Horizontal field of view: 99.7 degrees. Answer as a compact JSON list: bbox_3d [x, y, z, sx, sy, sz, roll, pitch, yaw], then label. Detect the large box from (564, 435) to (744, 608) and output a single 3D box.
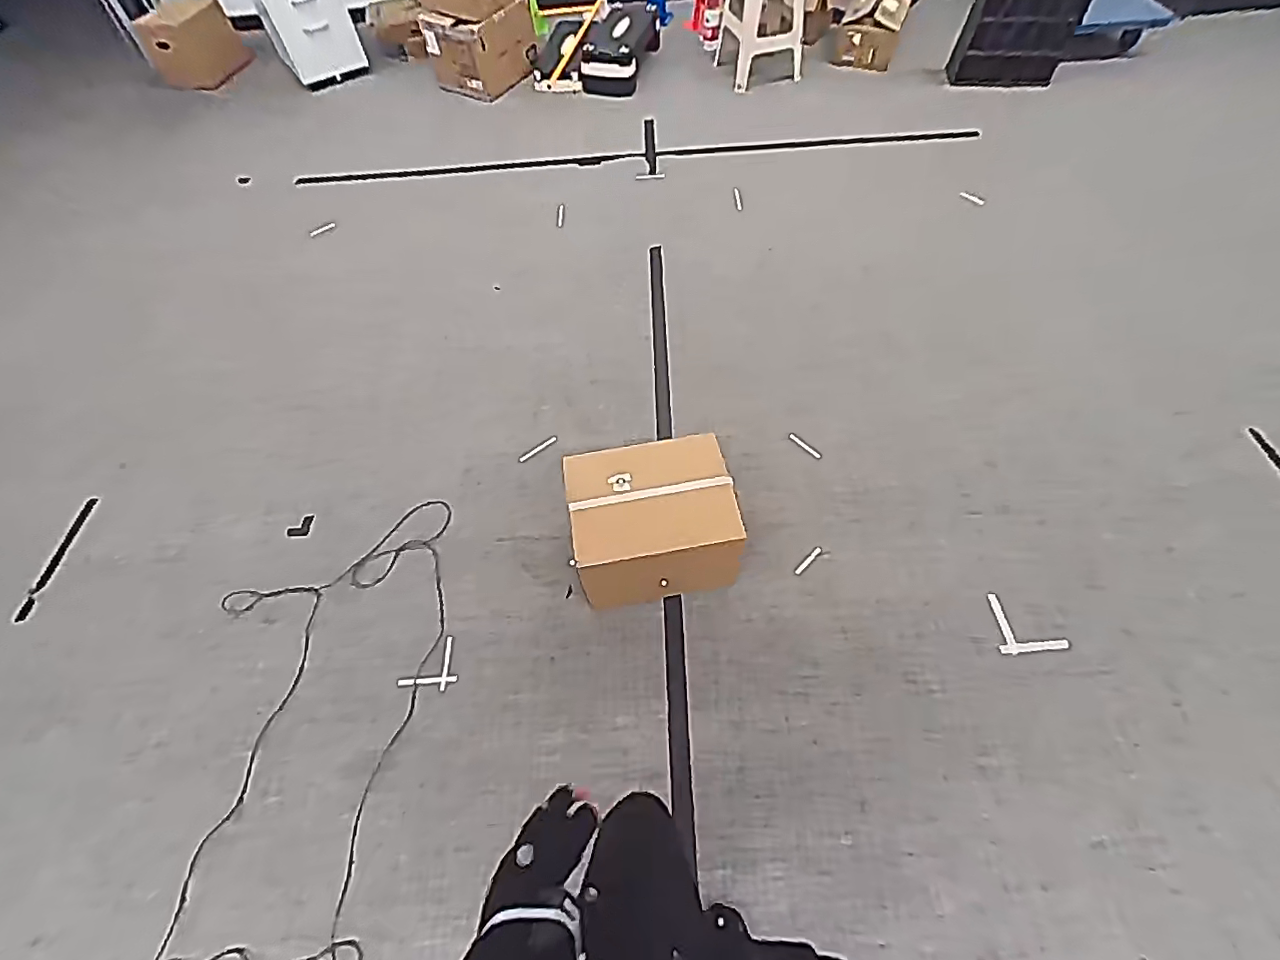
[{"bbox_3d":[0.034,0.121,1.454,0.408,0.320,0.320,-10,58,-2],"label":"large box"}]
